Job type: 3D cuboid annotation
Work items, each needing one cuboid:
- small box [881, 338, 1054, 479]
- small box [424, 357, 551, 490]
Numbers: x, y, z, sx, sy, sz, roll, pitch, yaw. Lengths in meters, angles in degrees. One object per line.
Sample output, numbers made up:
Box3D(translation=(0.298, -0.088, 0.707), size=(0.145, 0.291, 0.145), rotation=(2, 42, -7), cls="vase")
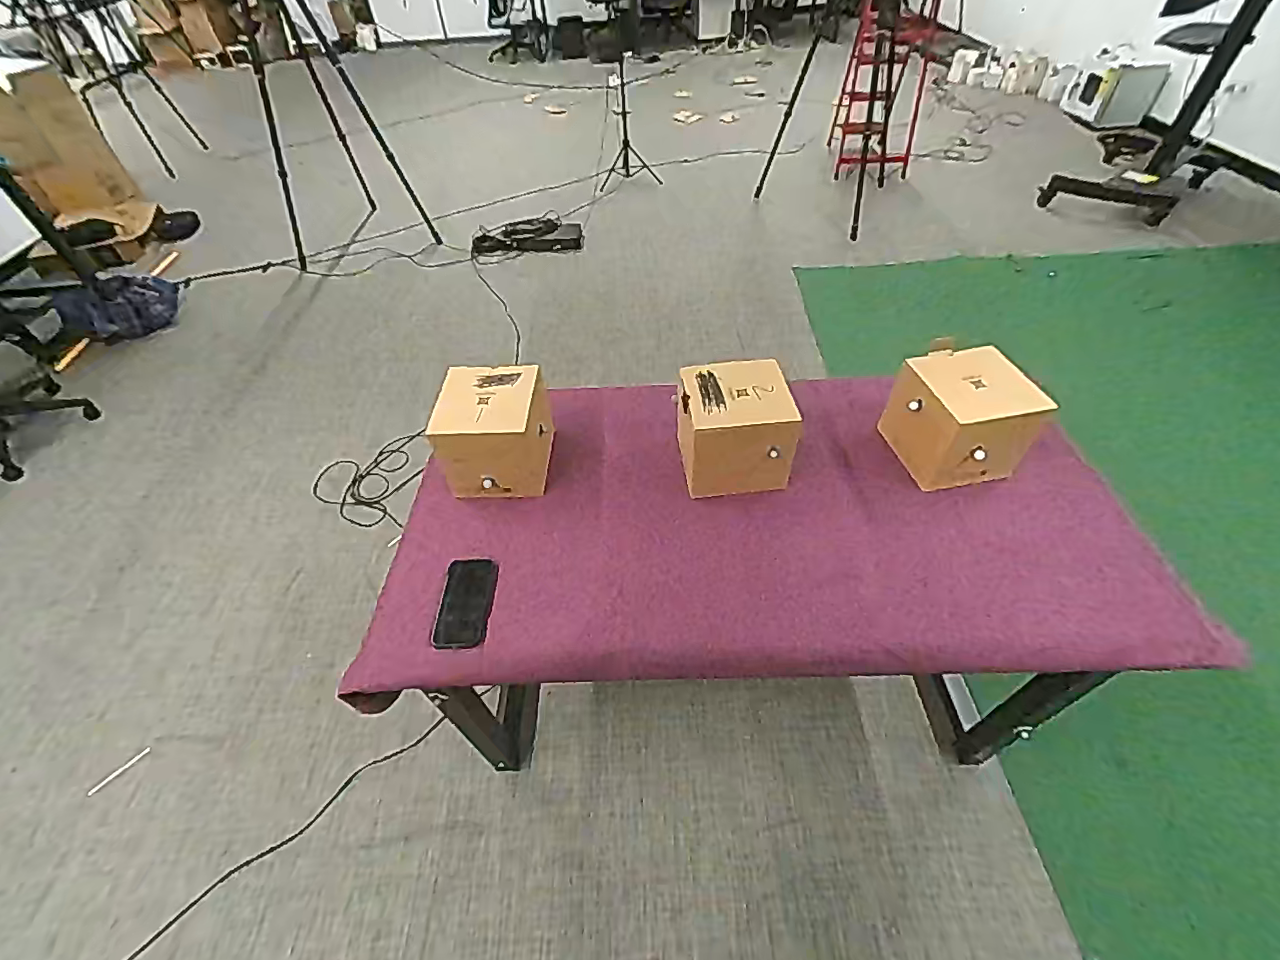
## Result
Box3D(translation=(0.553, -0.118, 0.944), size=(0.168, 0.176, 0.179), rotation=(-10, 49, -4), cls="small box")
Box3D(translation=(-0.260, -0.102, 0.974), size=(0.168, 0.176, 0.179), rotation=(-1, 51, 2), cls="small box")
